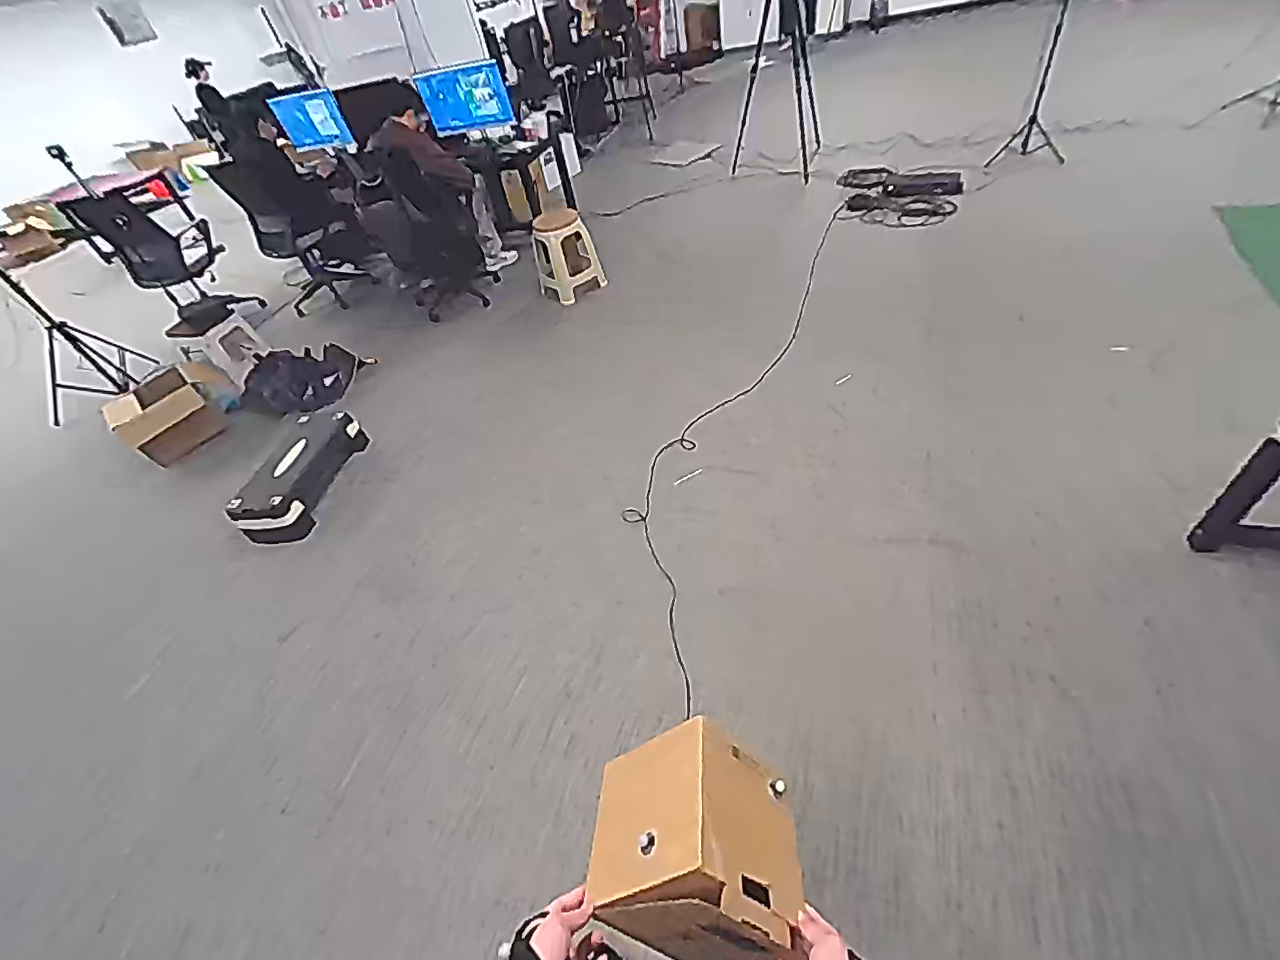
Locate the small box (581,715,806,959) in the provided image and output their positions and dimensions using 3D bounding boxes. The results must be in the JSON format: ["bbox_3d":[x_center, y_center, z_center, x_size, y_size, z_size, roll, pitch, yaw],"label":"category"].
[{"bbox_3d":[0.059,0.406,0.623,0.179,0.168,0.176,-39,20,25],"label":"small box"}]
